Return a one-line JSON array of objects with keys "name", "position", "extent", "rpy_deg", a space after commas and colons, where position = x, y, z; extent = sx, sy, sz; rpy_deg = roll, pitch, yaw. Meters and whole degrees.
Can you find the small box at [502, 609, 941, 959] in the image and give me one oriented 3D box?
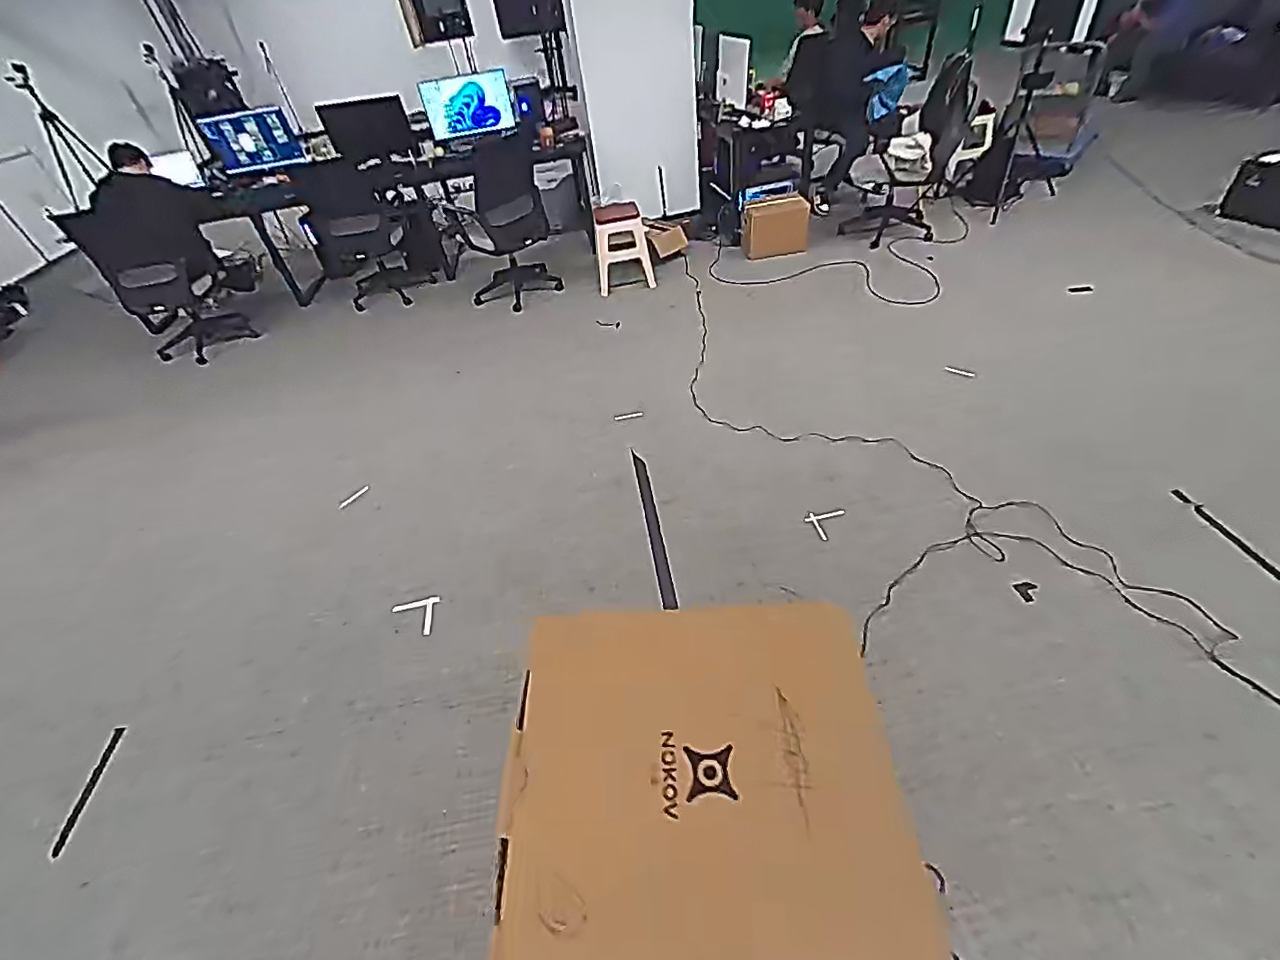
[{"name": "small box", "position": [0.032, 0.192, 0.319], "extent": [0.179, 0.176, 0.168], "rpy_deg": [-2, 49, -1]}]
